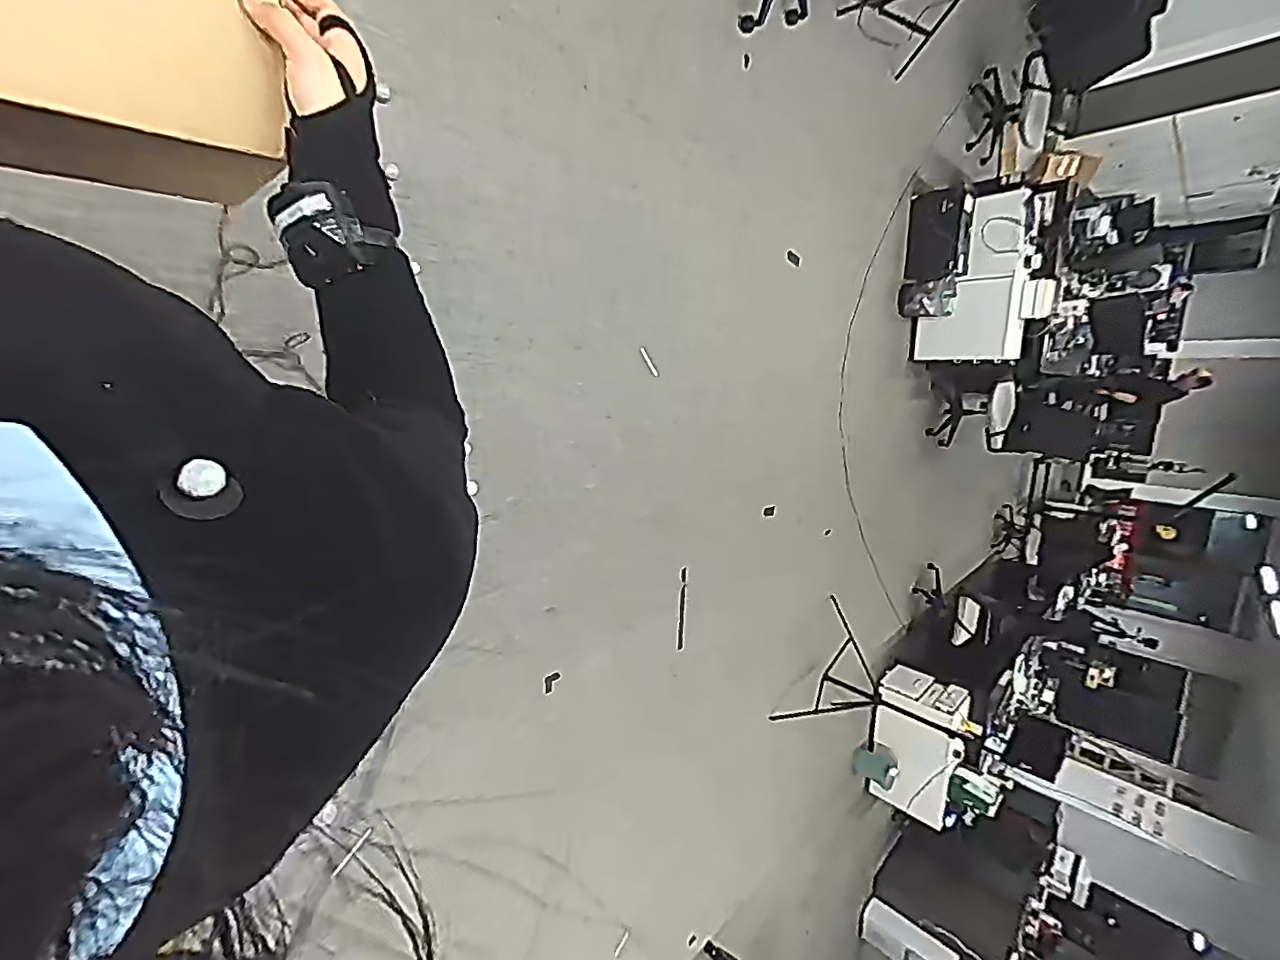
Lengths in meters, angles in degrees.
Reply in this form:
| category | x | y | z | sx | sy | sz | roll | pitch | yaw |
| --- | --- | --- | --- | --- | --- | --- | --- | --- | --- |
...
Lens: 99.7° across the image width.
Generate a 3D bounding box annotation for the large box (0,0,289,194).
| category | x | y | z | sx | sy | sz | roll | pitch | yaw |
| --- | --- | --- | --- | --- | --- | --- | --- | --- | --- |
| large box | -0.514 | -0.413 | 0.367 | 0.408 | 0.320 | 0.320 | -10 | 110 | -40 |
